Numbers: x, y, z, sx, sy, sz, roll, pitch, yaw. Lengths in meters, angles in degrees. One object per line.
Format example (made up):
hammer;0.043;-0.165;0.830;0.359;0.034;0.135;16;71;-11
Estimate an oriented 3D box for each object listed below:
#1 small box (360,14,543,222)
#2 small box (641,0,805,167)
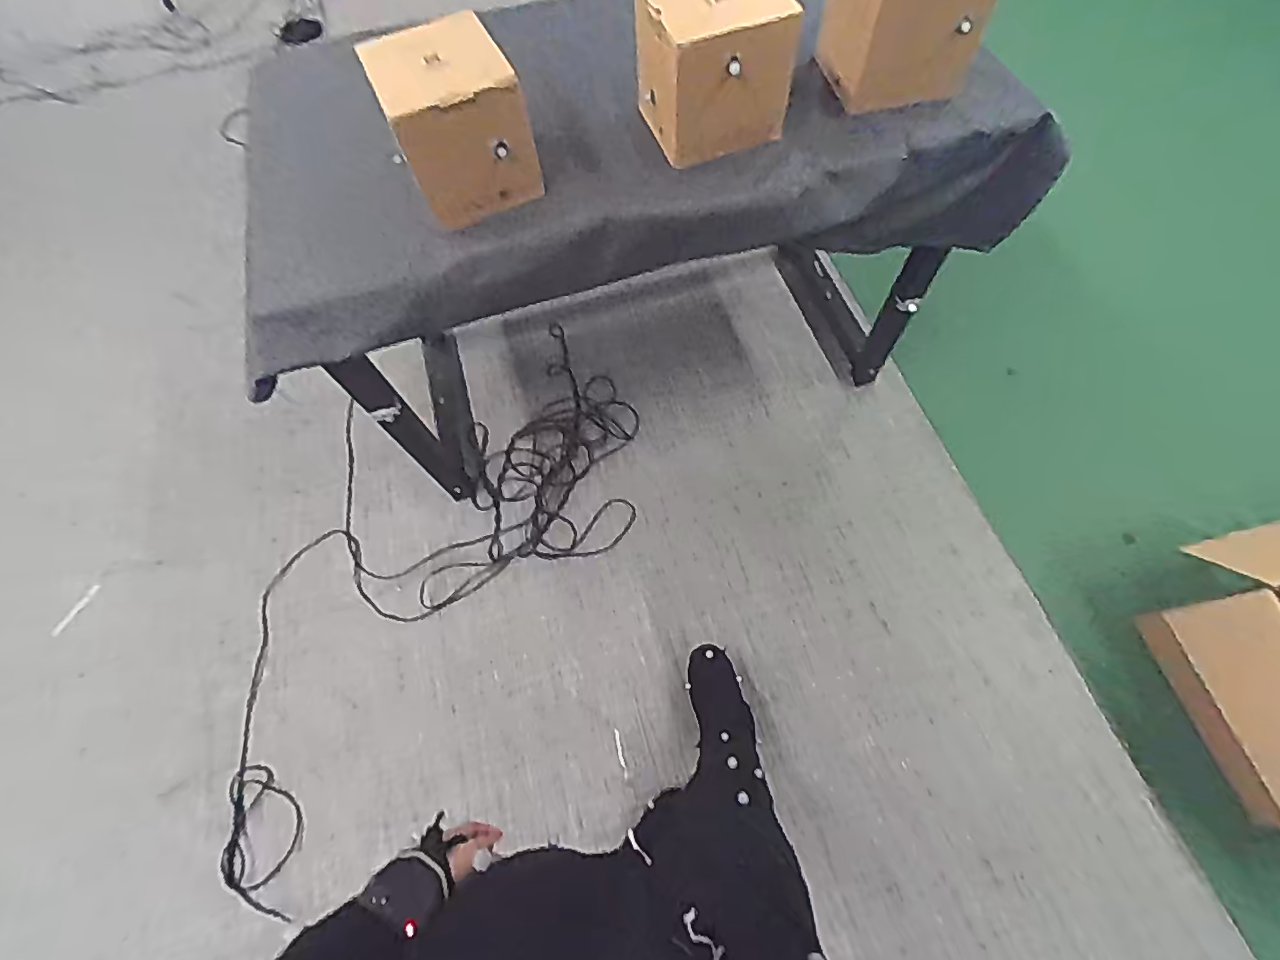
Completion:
small box;-0.251;-0.490;0.753;0.168;0.176;0.179;-25;66;-10
small box;0.107;-0.596;0.781;0.179;0.176;0.168;-19;66;-4
